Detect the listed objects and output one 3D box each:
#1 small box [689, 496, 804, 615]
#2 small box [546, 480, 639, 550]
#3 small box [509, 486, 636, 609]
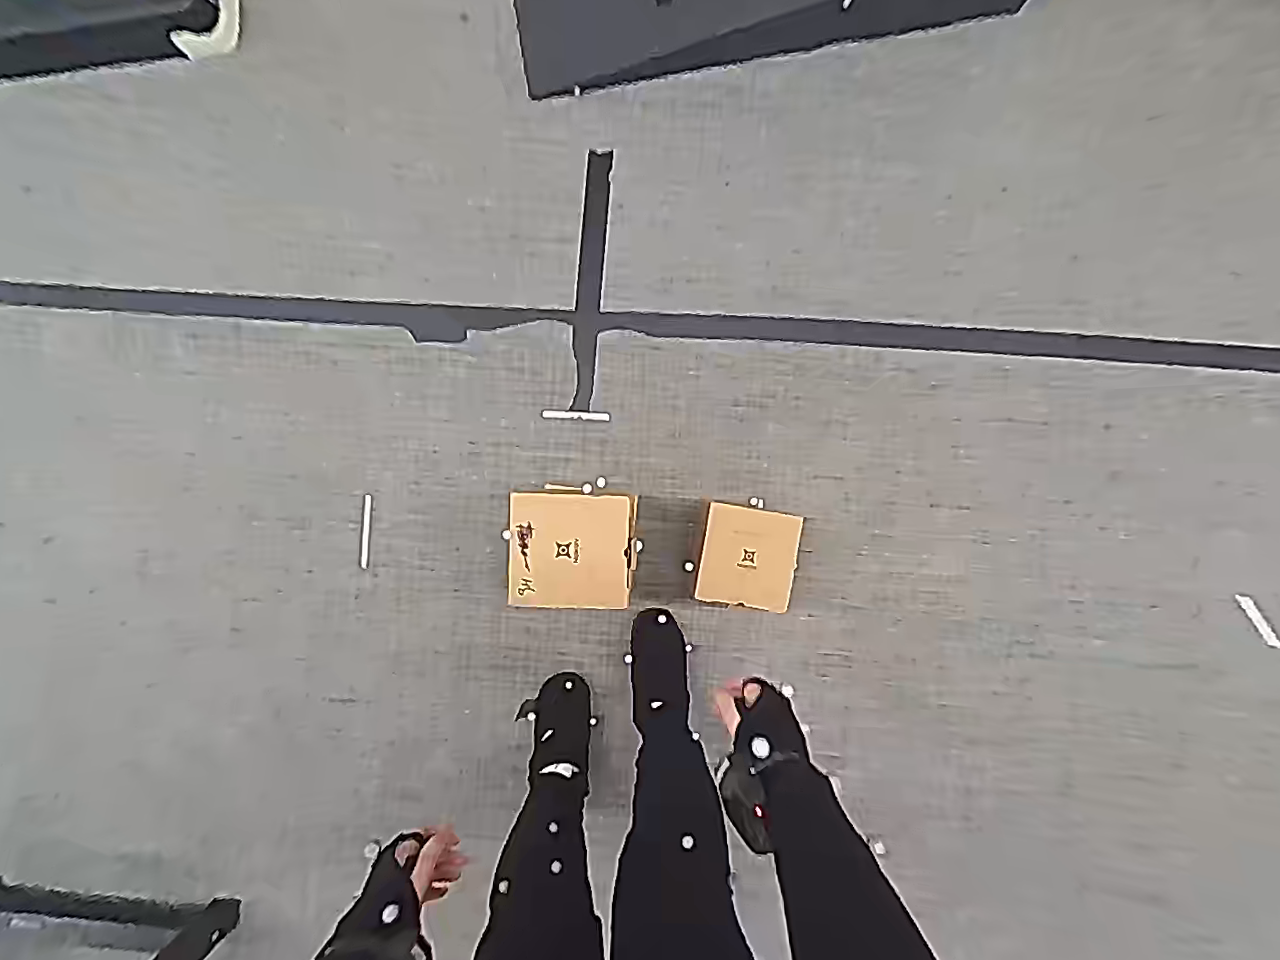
[{"bbox_3d":[0.189,0.132,1.011,0.168,0.176,0.179,10,91,0],"label":"small box"},{"bbox_3d":[-0.092,0.097,1.011,0.168,0.176,0.179,7,91,0],"label":"small box"},{"bbox_3d":[-0.098,0.097,0.847,0.179,0.176,0.168,2,91,0],"label":"small box"}]
